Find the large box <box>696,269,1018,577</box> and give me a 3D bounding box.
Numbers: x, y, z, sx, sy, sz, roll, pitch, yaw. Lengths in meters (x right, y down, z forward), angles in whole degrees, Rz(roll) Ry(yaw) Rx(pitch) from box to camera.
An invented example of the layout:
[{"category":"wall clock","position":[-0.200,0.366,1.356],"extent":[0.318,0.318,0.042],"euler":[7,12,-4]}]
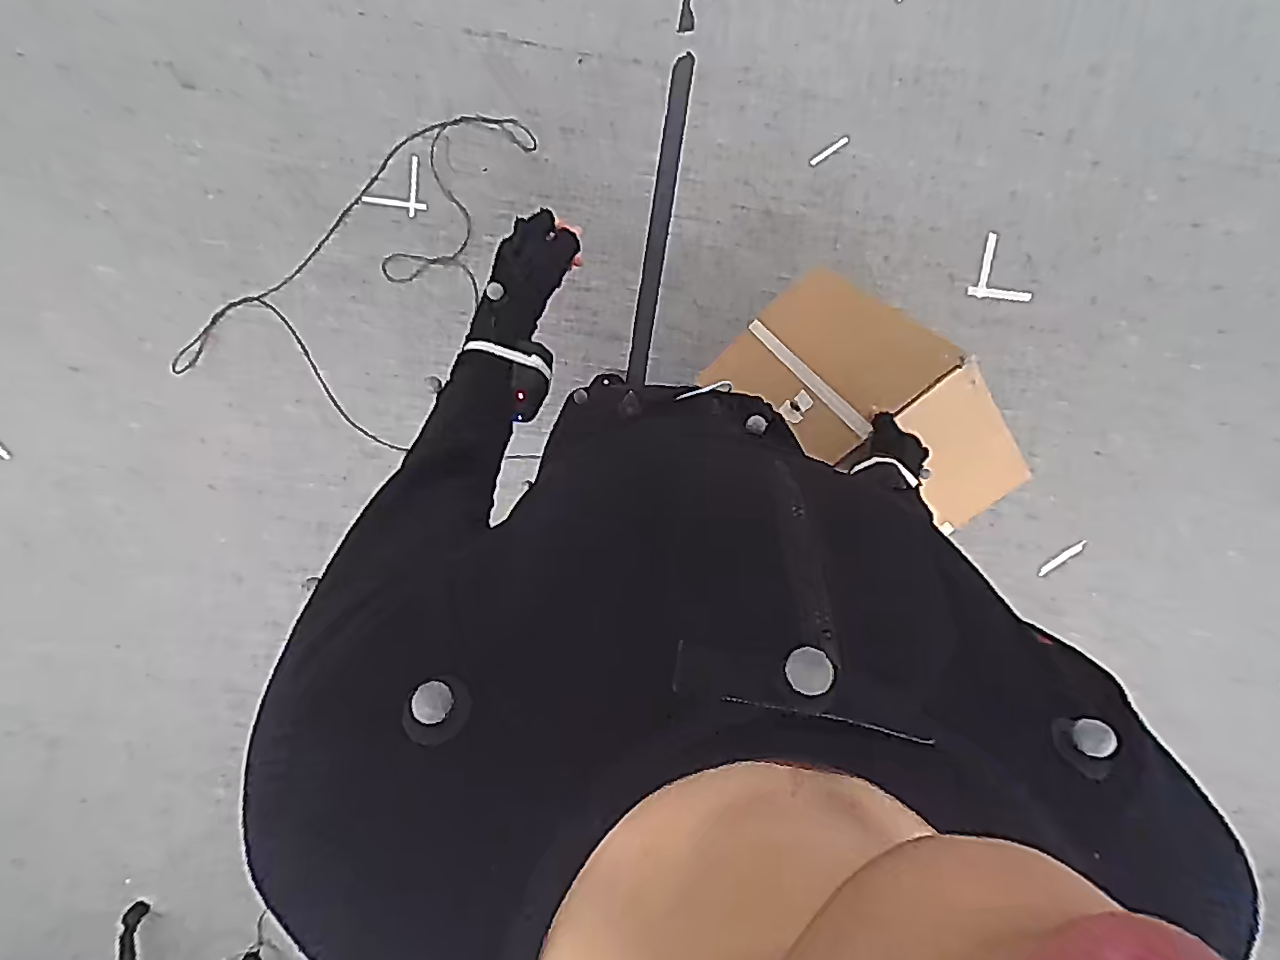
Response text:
[{"category":"large box","position":[0.365,-0.106,0.978],"extent":[0.320,0.408,0.320],"euler":[-43,128,17]}]
